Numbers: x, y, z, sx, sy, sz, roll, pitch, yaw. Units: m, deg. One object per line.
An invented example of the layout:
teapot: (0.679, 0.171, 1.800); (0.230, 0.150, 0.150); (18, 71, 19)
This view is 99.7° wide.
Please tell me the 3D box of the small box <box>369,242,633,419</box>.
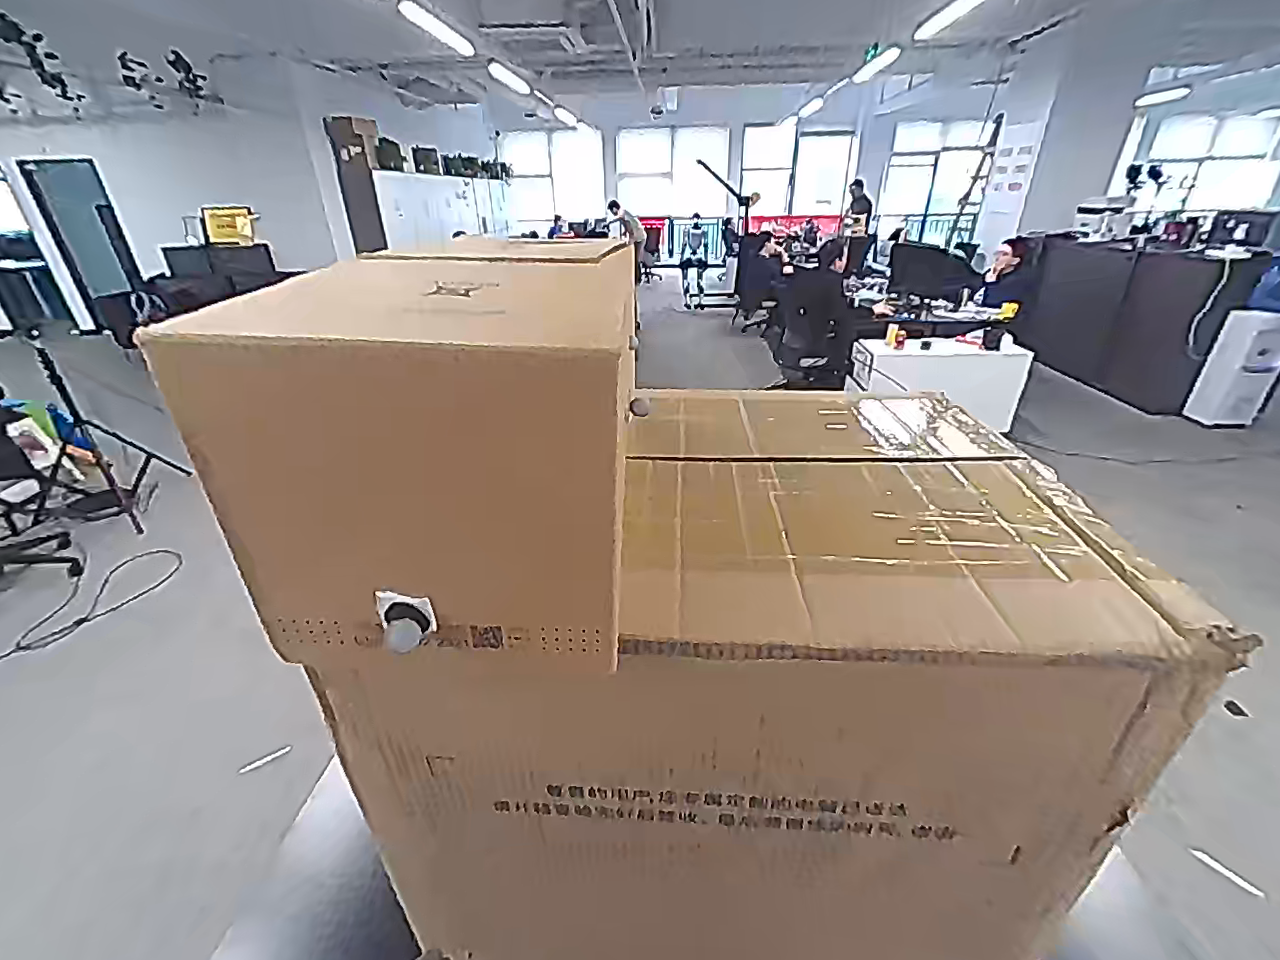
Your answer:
small box: (-0.098, -0.111, 0.473); (0.168, 0.176, 0.179); (2, 28, 6)

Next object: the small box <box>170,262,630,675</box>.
small box: (-0.090, -0.018, 0.304); (0.168, 0.176, 0.179); (0, 31, -1)
